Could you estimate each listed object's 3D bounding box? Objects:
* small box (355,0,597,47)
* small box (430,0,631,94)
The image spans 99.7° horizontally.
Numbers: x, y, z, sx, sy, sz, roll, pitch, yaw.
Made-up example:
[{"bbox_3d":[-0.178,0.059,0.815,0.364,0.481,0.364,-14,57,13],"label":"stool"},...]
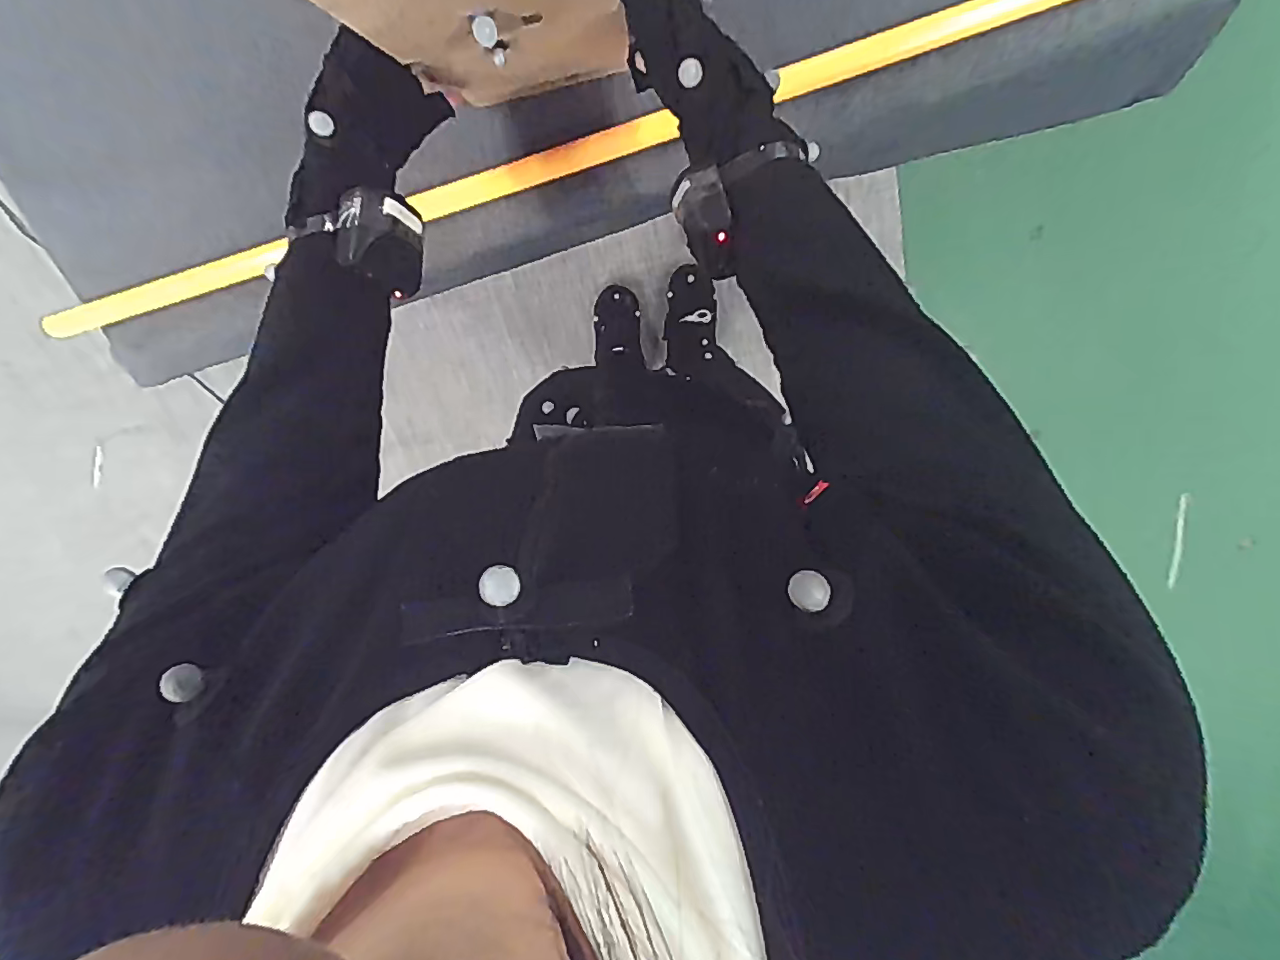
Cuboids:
[{"bbox_3d":[-0.114,-0.369,0.277,0.168,0.176,0.179,-9,114,7],"label":"small box"},{"bbox_3d":[-0.105,-0.442,0.426,0.168,0.176,0.179,-9,114,7],"label":"small box"}]
